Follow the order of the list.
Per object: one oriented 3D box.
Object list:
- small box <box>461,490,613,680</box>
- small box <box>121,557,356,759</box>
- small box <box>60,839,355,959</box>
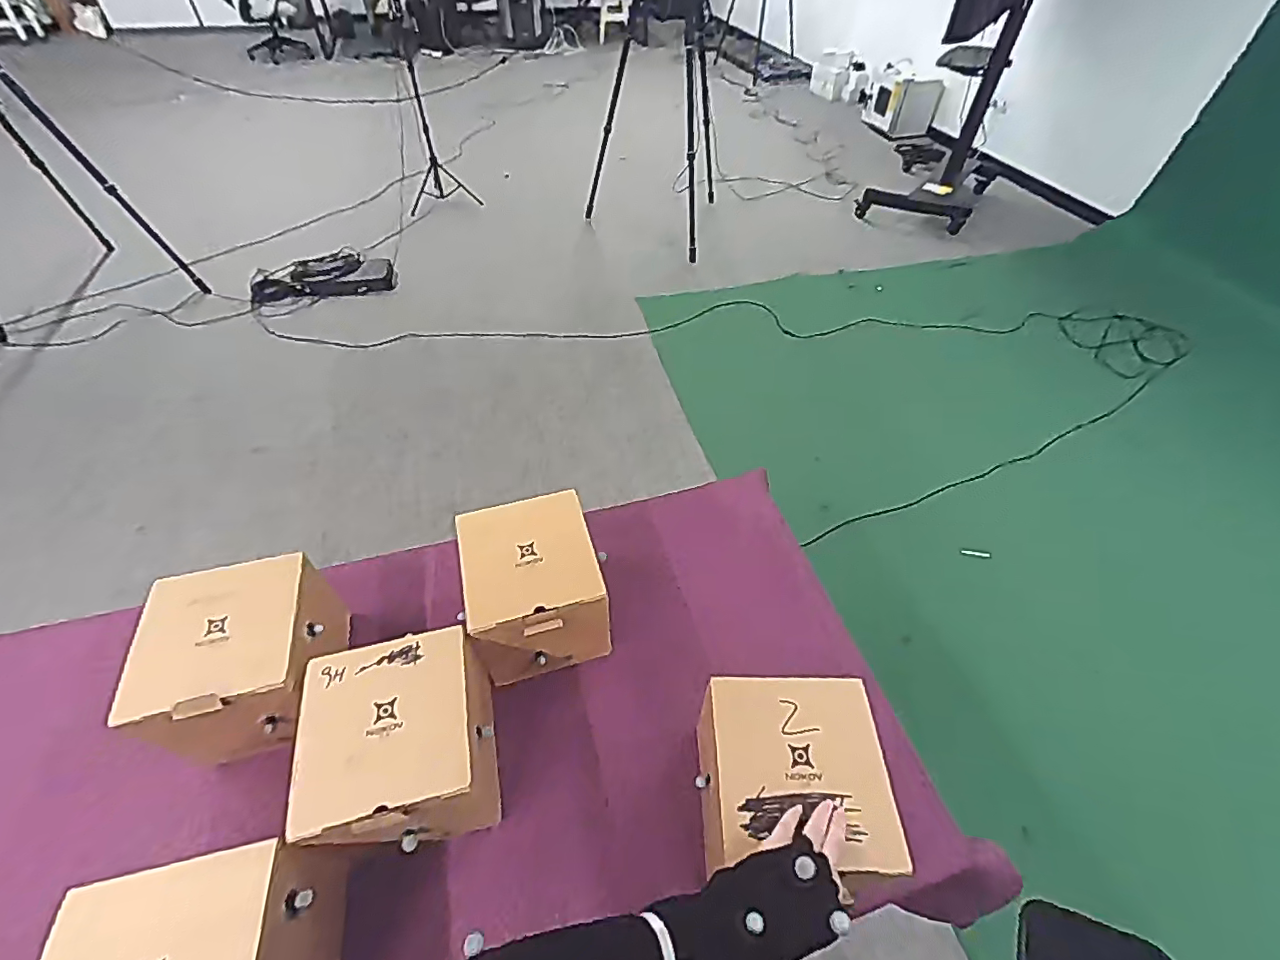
[{"bbox_3d":[-0.139,0.145,0.746,0.168,0.176,0.179,-14,52,-12],"label":"small box"},{"bbox_3d":[-0.471,0.227,0.673,0.168,0.176,0.179,-11,50,-11],"label":"small box"},{"bbox_3d":[-0.373,0.451,0.477,0.168,0.176,0.179,-10,50,-8],"label":"small box"}]
